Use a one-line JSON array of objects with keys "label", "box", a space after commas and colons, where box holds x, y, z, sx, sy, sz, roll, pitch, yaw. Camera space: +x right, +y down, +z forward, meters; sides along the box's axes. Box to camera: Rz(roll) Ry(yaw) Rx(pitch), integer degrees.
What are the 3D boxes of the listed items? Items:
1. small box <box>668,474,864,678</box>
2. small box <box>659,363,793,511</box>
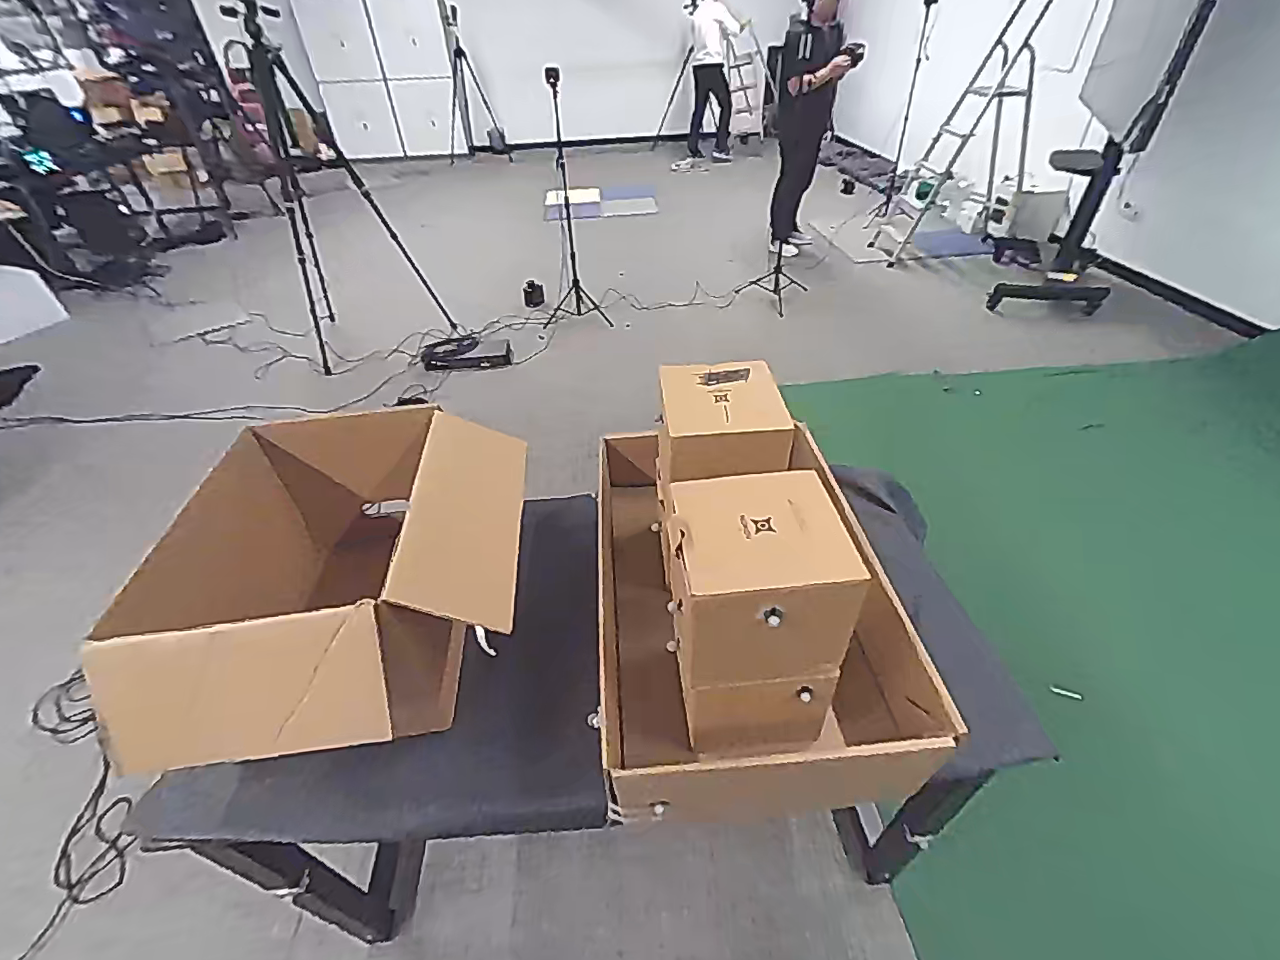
[{"label": "small box", "box": [0.129, 0.113, 0.629, 0.179, 0.176, 0.168, -5, 42, -2]}, {"label": "small box", "box": [0.117, -0.058, 0.818, 0.168, 0.176, 0.179, -3, 44, -1]}]
